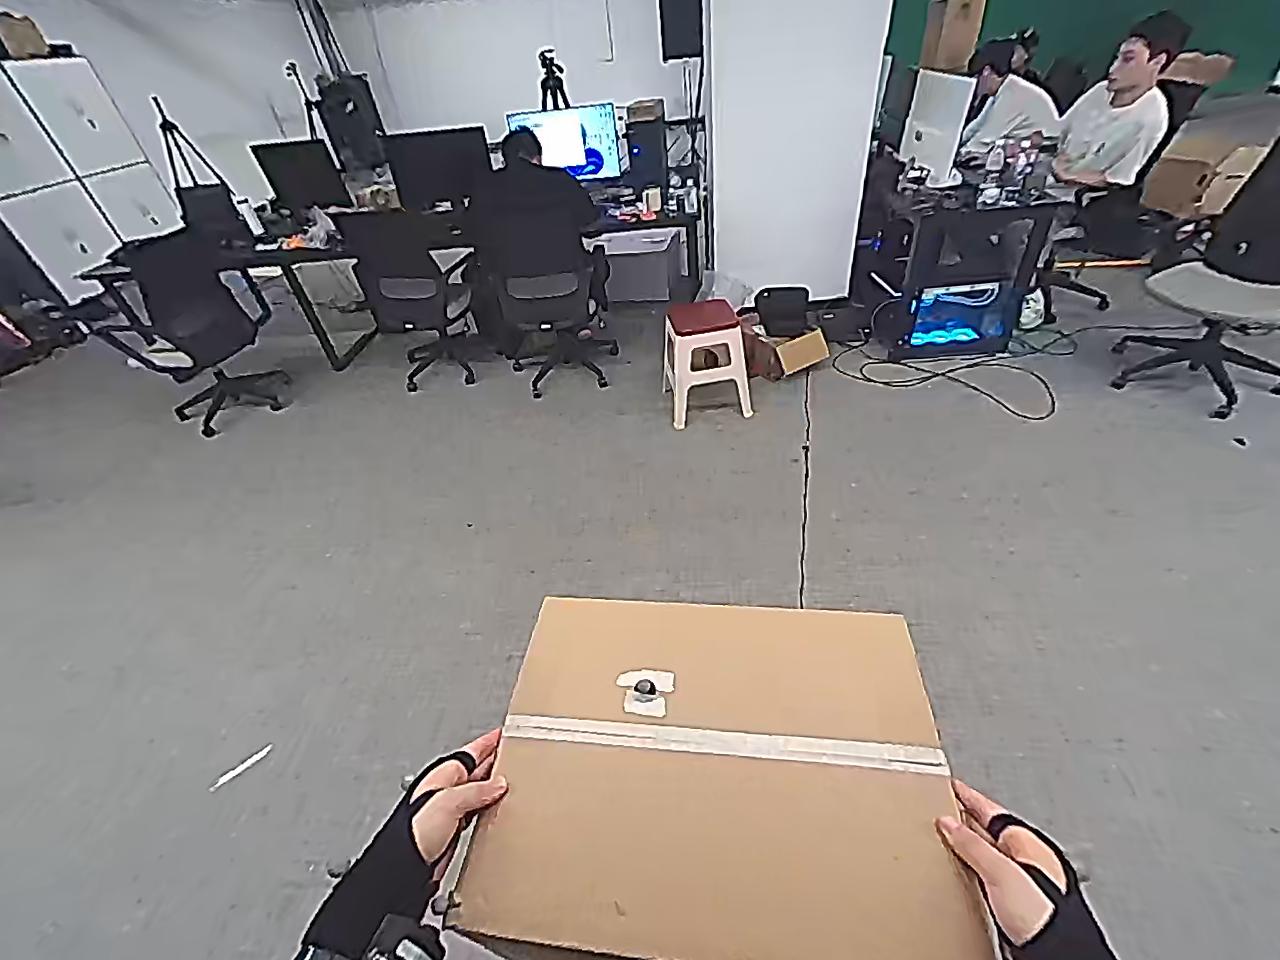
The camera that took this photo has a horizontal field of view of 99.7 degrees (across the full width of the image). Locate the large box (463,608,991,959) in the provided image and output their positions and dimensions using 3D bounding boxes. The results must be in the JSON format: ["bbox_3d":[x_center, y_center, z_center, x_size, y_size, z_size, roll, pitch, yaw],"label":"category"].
[{"bbox_3d":[0.085,0.363,0.612,0.408,0.320,0.320,-1,40,9],"label":"large box"}]
